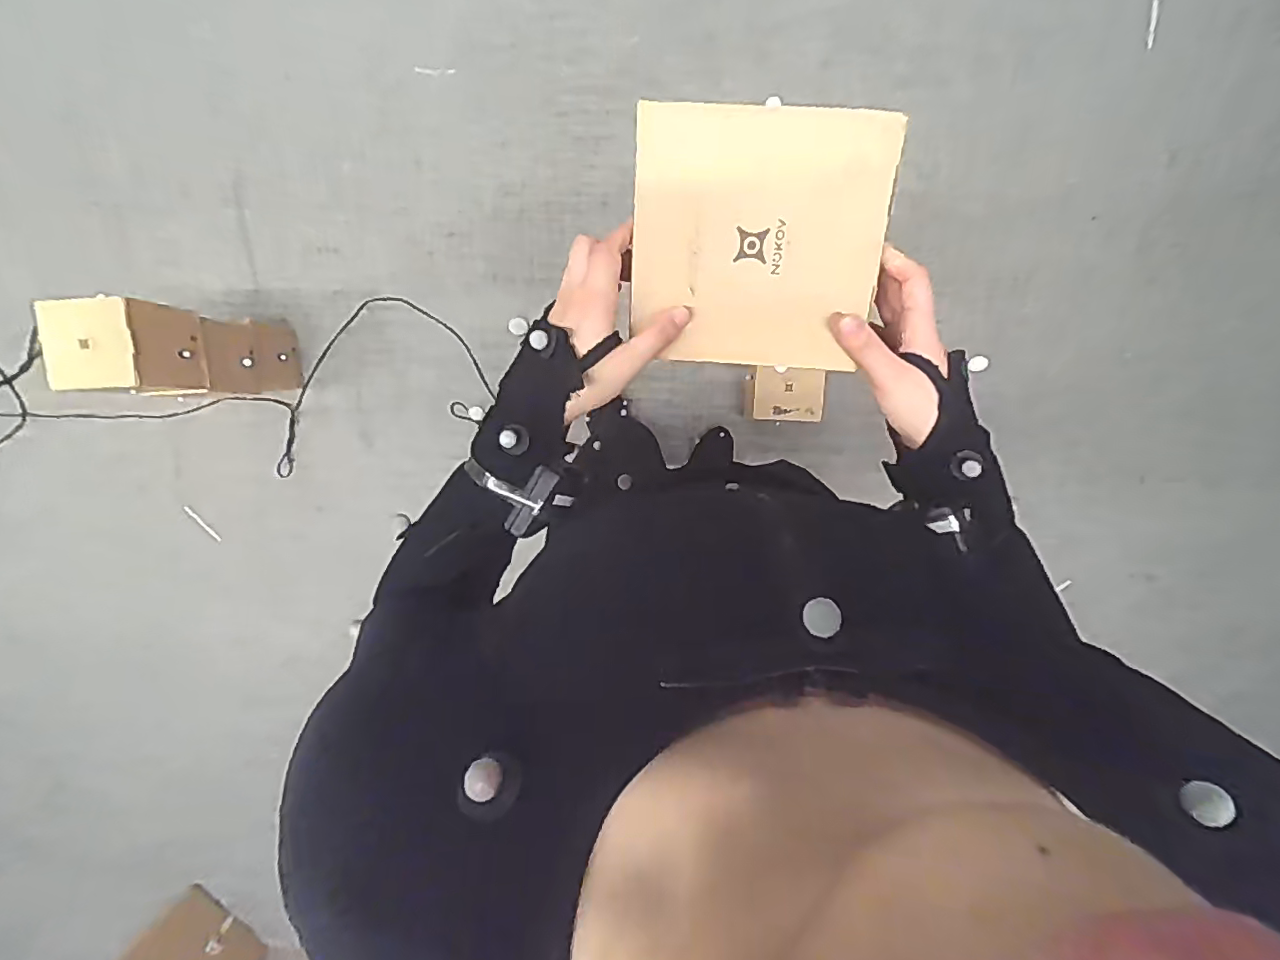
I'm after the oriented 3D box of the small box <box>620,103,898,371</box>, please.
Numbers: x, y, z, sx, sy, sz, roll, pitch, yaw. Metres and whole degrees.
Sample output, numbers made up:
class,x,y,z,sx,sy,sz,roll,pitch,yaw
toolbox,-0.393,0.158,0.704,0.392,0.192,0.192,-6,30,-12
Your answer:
class,x,y,z,sx,sy,sz,roll,pitch,yaw
small box,0.080,-0.189,0.447,0.179,0.176,0.168,4,110,4

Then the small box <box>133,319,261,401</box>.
class,x,y,z,sx,sy,sz,roll,pitch,yaw
small box,-1.025,-0.271,1.248,0.179,0.176,0.168,-2,97,2

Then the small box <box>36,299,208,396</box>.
class,x,y,z,sx,sy,sz,roll,pitch,yaw
small box,-1.027,-0.258,1.086,0.179,0.176,0.168,-3,97,2

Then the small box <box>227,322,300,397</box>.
class,x,y,z,sx,sy,sz,roll,pitch,yaw
small box,-1.022,-0.308,1.409,0.179,0.176,0.168,-6,96,4

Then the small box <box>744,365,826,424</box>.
class,x,y,z,sx,sy,sz,roll,pitch,yaw
small box,0.358,-0.233,1.358,0.168,0.176,0.179,3,96,2
